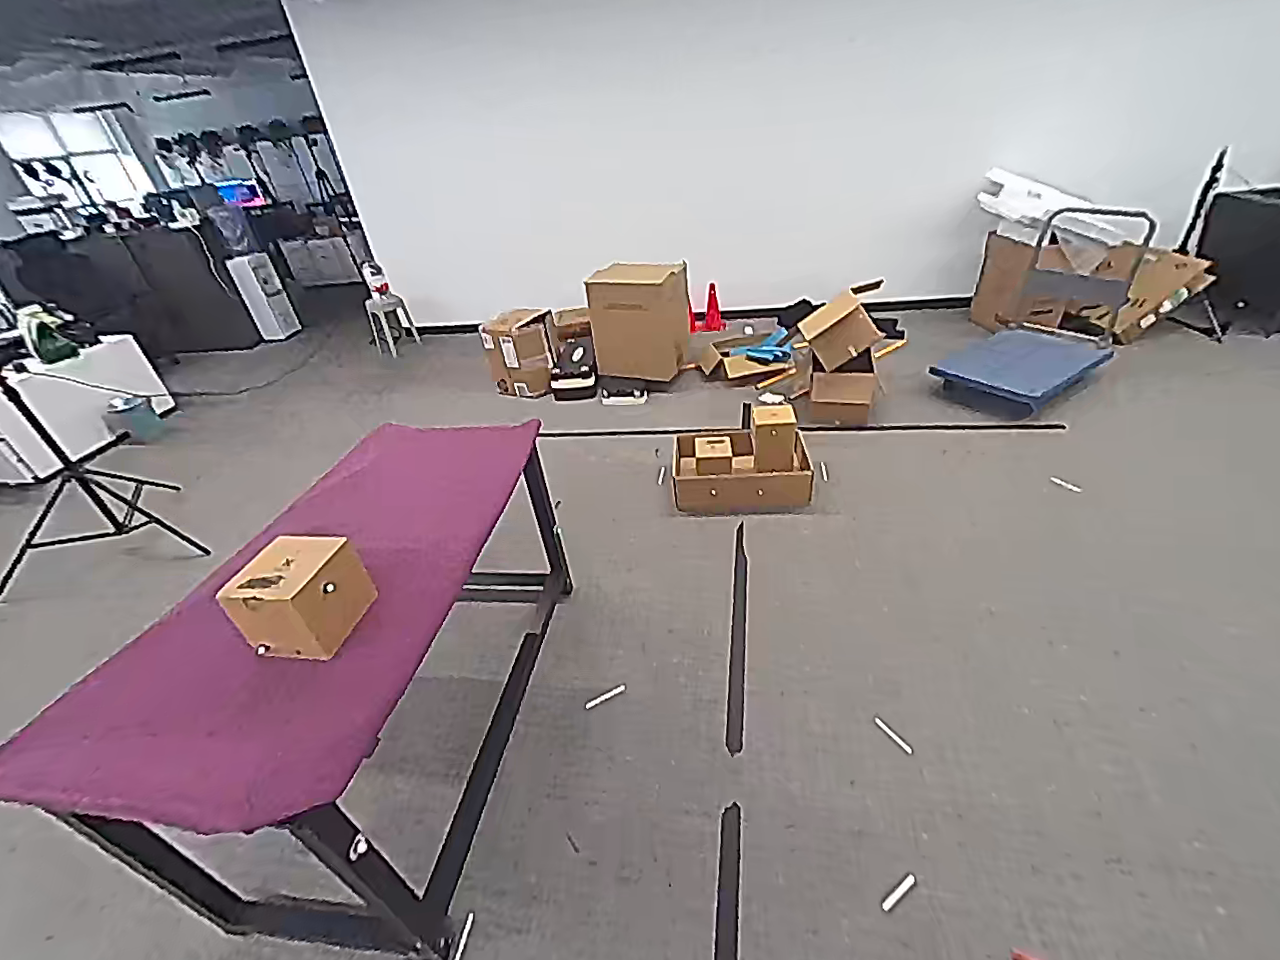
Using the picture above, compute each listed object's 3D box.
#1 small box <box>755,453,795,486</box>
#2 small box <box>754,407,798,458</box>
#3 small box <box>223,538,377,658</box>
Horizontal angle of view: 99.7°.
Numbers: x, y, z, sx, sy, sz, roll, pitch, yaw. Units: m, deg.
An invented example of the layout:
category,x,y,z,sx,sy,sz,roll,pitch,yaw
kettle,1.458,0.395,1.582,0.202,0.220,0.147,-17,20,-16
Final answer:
category,x,y,z,sx,sy,sz,roll,pitch,yaw
small box,0.630,-0.080,2.530,0.168,0.176,0.179,-2,33,8
small box,0.609,-0.213,2.439,0.179,0.176,0.168,-3,34,8
small box,-0.669,0.236,1.092,0.168,0.176,0.179,0,34,11
